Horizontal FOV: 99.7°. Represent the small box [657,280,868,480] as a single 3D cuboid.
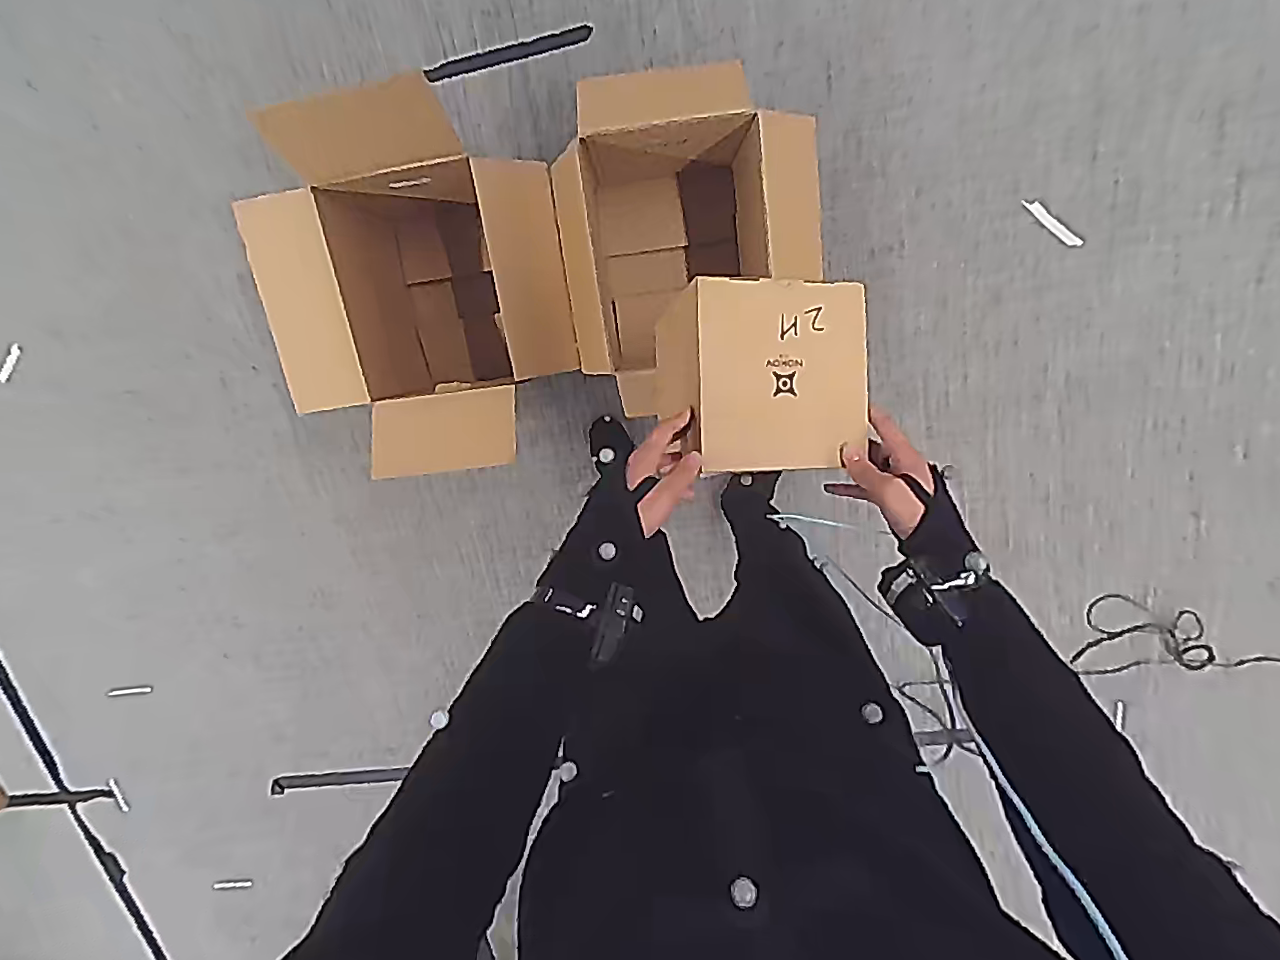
[{"bbox_3d":[0.115,-0.091,0.564,0.168,0.176,0.179,-1,91,-11],"label":"small box"}]
